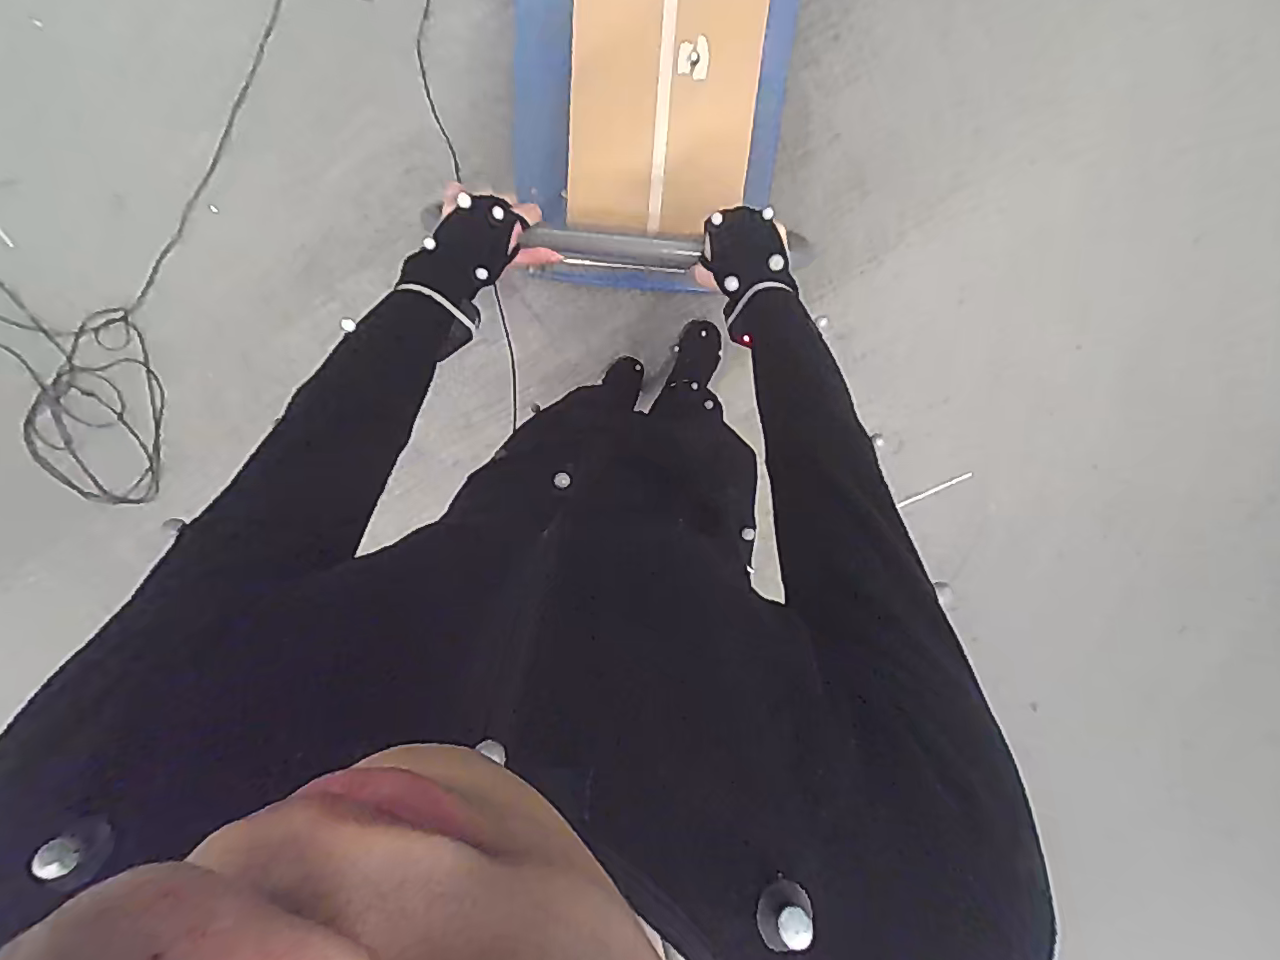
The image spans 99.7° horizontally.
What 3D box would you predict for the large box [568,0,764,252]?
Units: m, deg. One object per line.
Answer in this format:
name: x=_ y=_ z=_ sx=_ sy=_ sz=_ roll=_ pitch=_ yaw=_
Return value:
large box: x=0.044 y=-0.687 z=1.072 sx=0.320 sy=0.320 sz=0.408 roll=6 pitch=110 yaw=0
